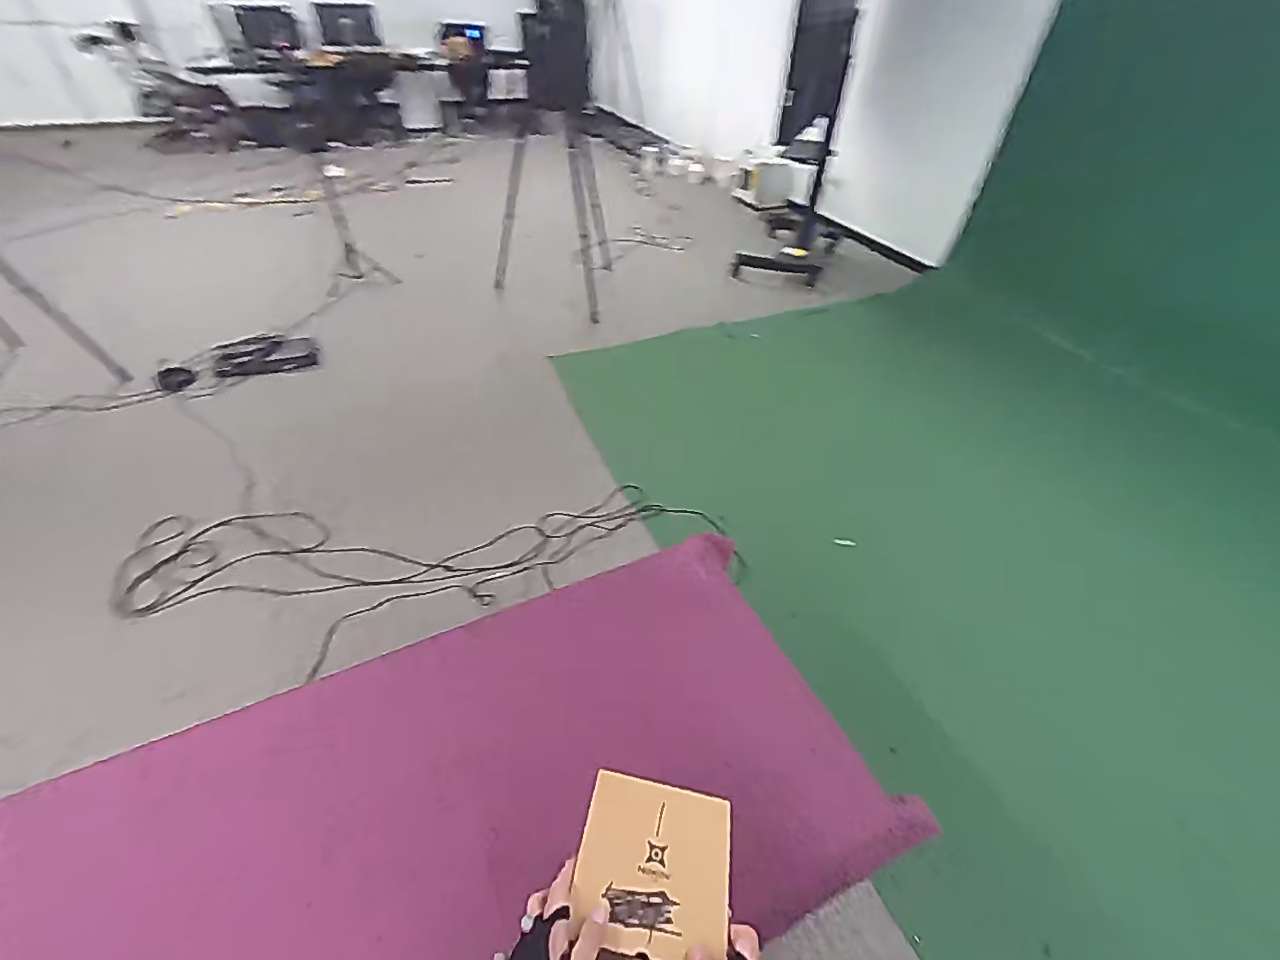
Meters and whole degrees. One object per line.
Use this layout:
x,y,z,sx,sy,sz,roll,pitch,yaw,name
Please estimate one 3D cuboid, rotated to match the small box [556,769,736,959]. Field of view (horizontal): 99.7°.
0.007,0.478,0.616,0.168,0.176,0.179,13,30,5,small box
